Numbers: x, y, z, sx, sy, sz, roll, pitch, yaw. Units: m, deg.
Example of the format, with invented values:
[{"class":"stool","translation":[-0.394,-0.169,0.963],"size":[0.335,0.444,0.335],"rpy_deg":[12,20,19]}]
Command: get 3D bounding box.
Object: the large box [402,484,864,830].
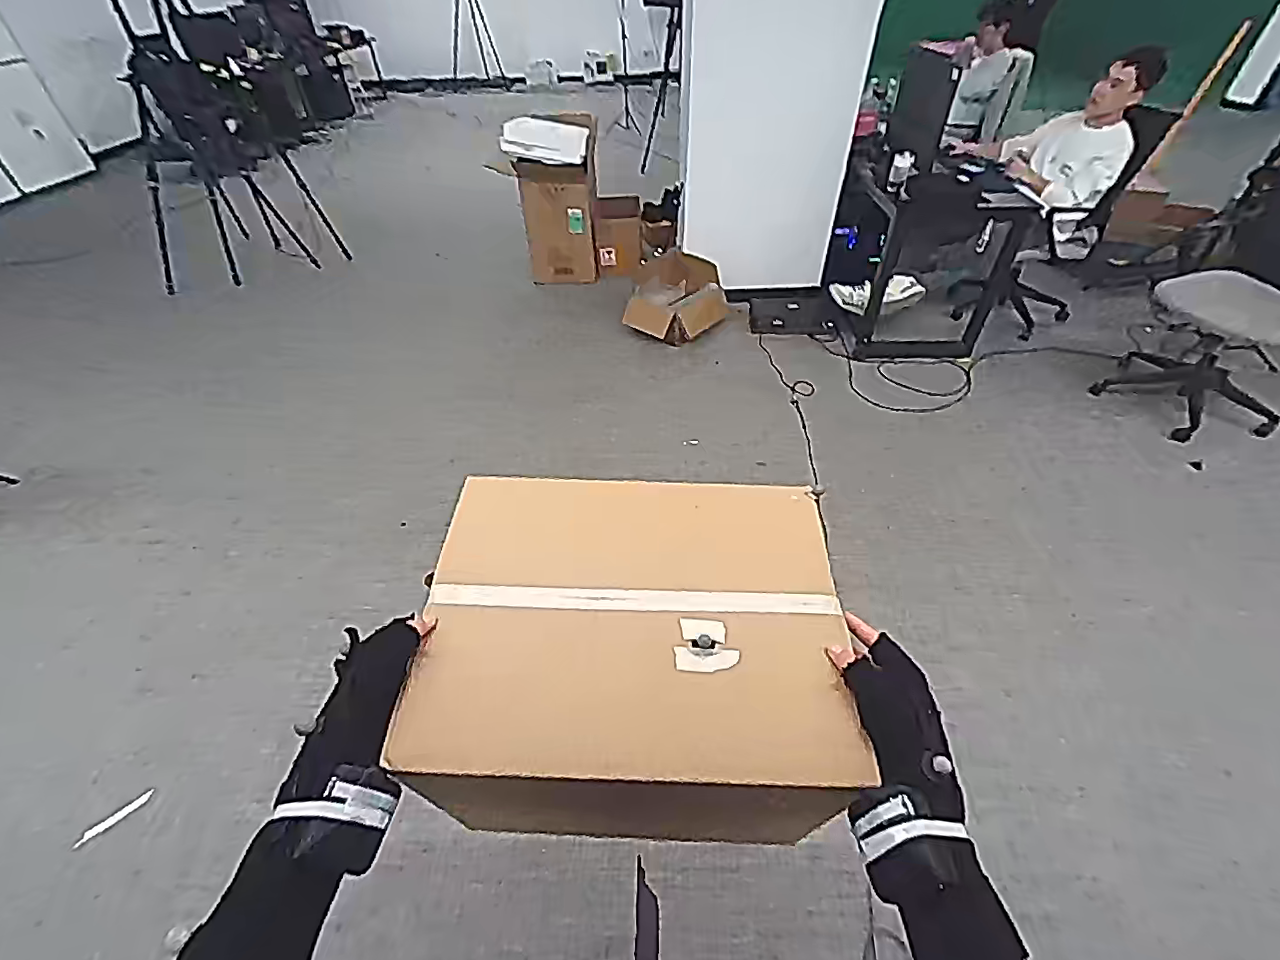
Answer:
[{"class":"large box","translation":[-0.007,0.223,0.665],"size":[0.408,0.320,0.320],"rpy_deg":[3,50,0]}]
